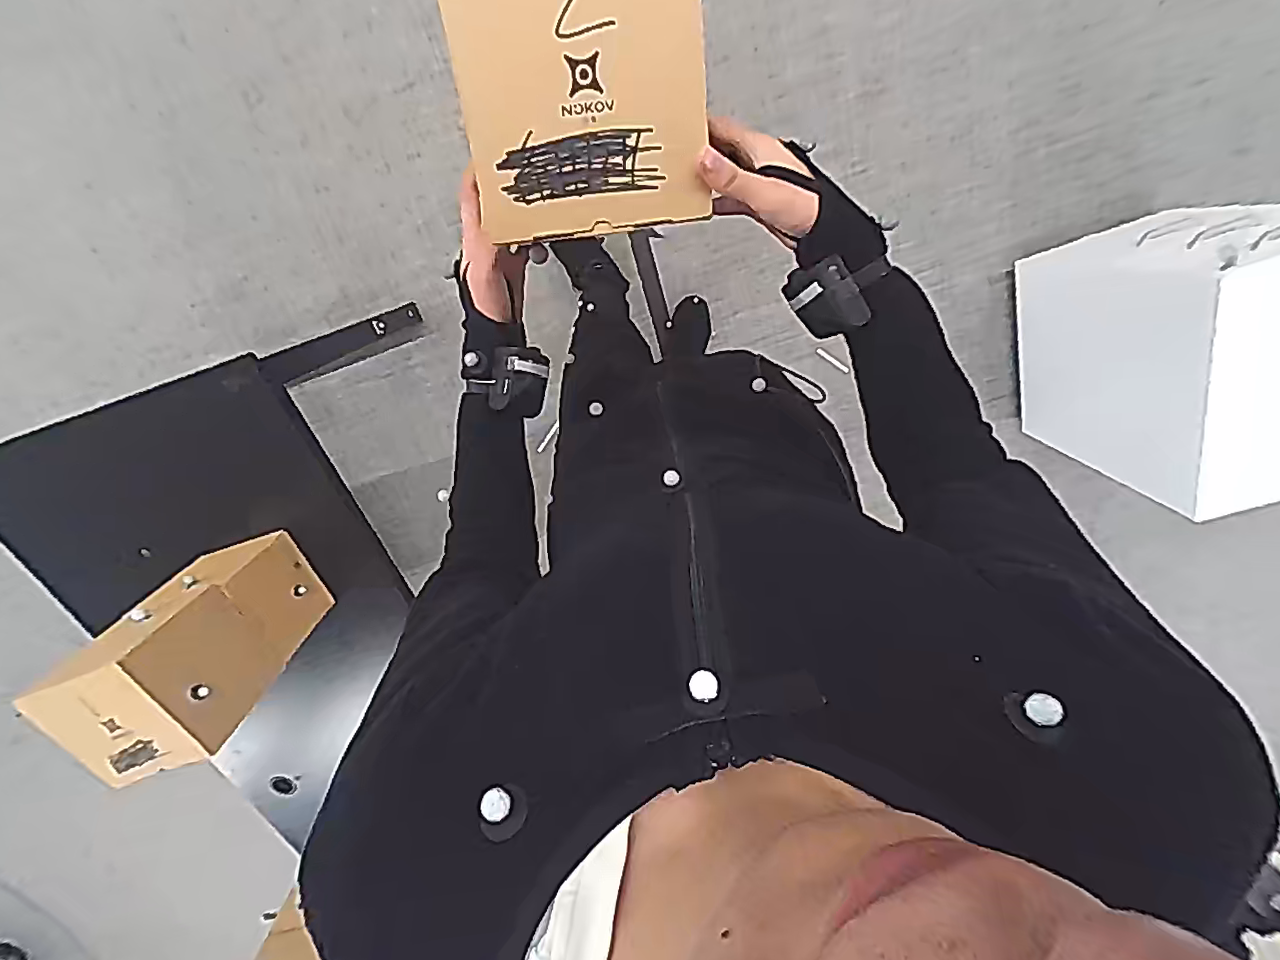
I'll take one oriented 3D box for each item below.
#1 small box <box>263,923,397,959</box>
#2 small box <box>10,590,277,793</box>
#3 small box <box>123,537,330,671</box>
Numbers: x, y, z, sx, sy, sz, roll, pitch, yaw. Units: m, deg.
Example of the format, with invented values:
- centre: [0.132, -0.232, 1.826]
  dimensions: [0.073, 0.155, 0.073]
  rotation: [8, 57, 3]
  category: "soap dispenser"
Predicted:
- centre: [-0.493, 0.817, 0.814]
  dimensions: [0.179, 0.176, 0.168]
  rotation: [-18, 115, 7]
  category: "small box"
- centre: [-0.661, 0.286, 0.750]
  dimensions: [0.168, 0.176, 0.179]
  rotation: [-20, 112, 8]
  category: "small box"
- centre: [-0.669, 0.220, 0.901]
  dimensions: [0.179, 0.176, 0.168]
  rotation: [-17, 114, 7]
  category: "small box"
